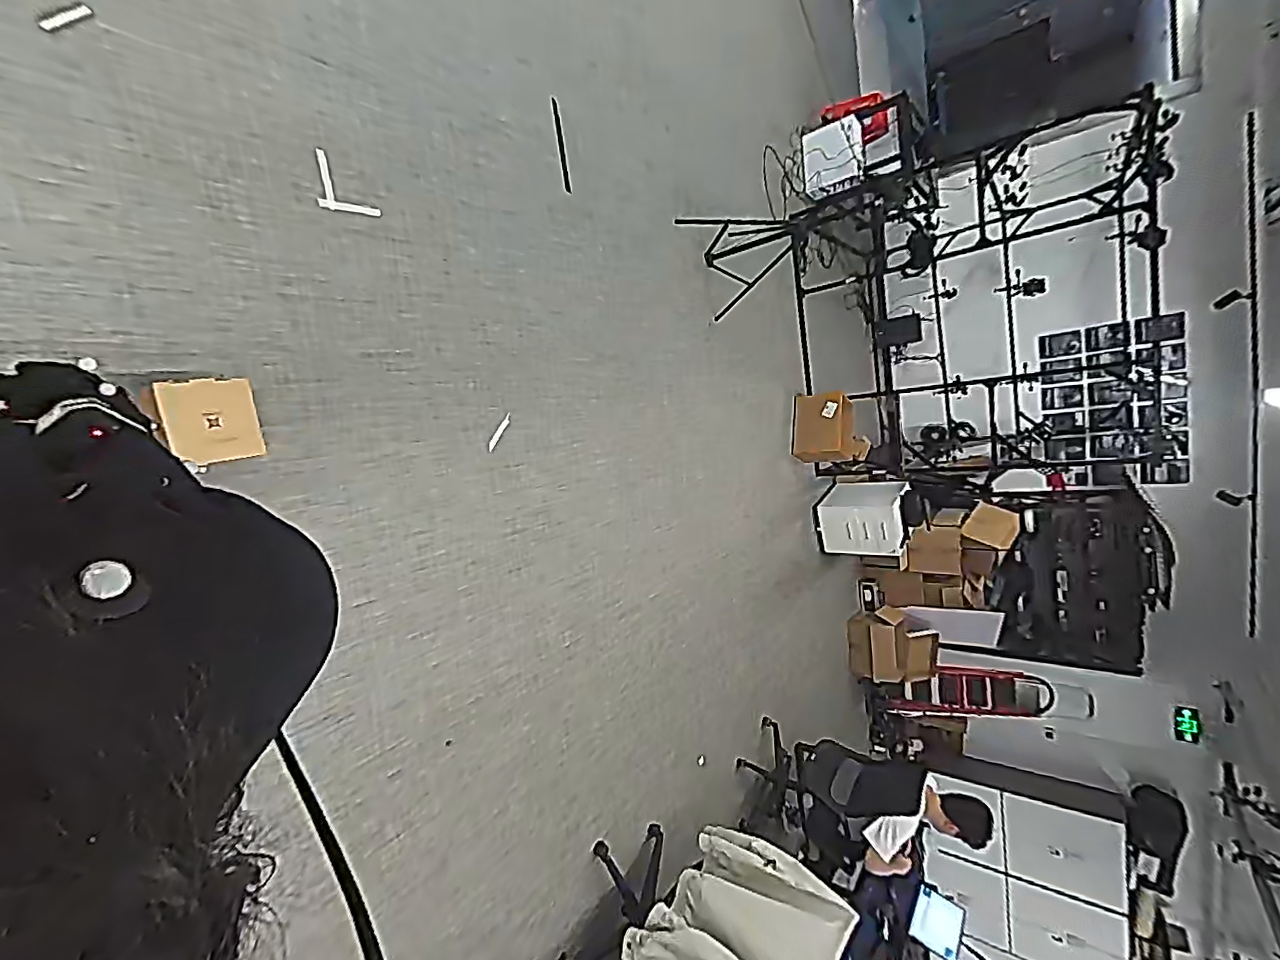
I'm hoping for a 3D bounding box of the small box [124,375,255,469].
[{"bbox_3d":[-0.978,-0.125,1.172,0.168,0.176,0.179,-19,104,-50],"label":"small box"}]
